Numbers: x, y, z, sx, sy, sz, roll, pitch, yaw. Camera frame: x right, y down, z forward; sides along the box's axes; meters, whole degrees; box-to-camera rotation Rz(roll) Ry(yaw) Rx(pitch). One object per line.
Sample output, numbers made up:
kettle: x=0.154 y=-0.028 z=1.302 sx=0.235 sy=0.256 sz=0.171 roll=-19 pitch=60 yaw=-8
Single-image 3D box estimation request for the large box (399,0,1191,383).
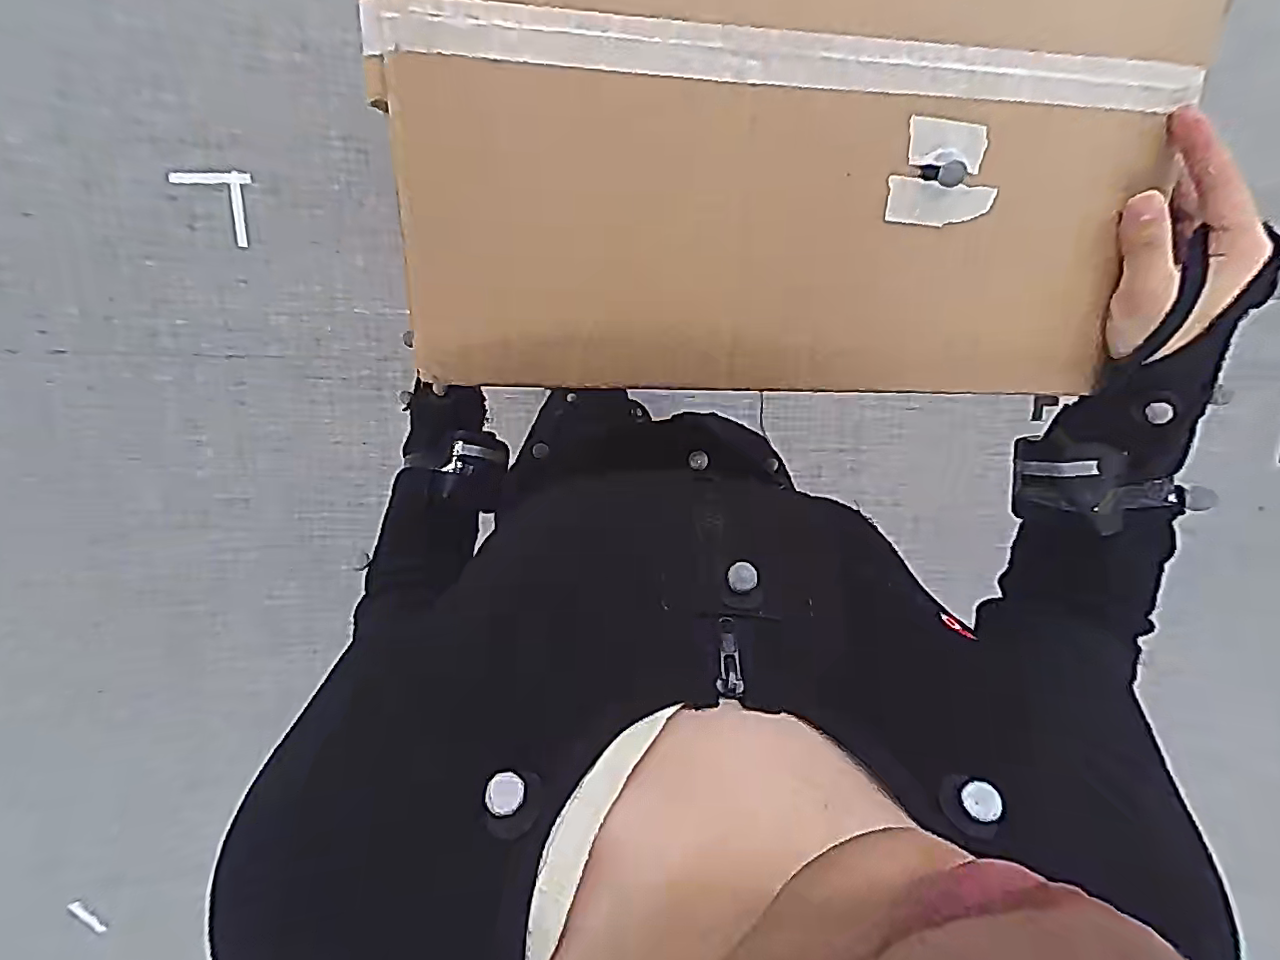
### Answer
large box: x=0.066 y=-0.253 z=0.411 sx=0.408 sy=0.320 sz=0.320 roll=-1 pitch=110 yaw=-8
